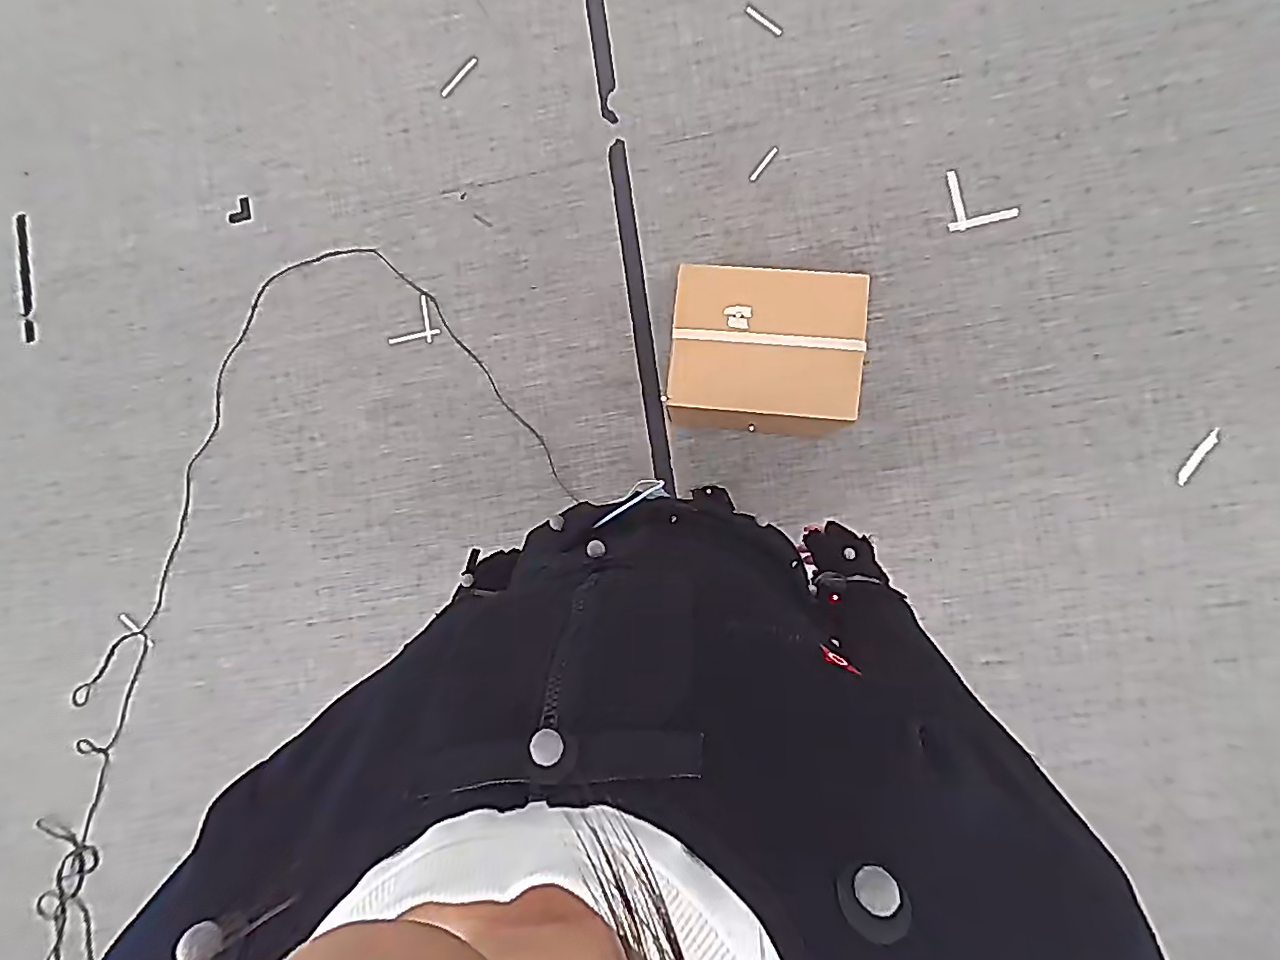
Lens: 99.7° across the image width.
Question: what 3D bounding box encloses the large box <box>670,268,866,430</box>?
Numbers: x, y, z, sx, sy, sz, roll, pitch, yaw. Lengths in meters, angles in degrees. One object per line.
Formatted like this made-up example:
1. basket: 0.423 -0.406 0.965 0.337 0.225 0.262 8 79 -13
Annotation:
1. large box: 0.293 -0.299 1.314 0.408 0.320 0.320 5 88 7
